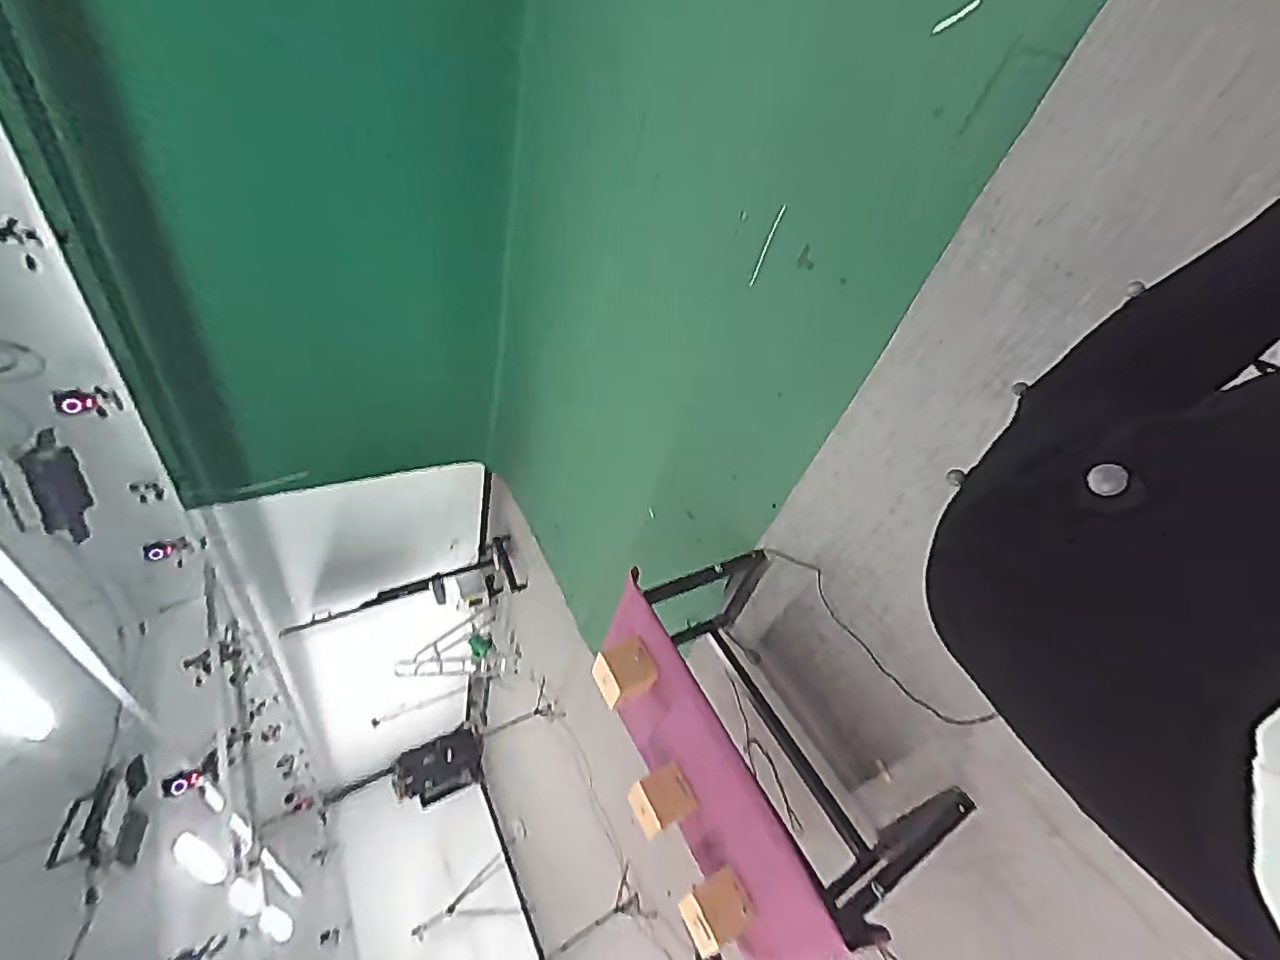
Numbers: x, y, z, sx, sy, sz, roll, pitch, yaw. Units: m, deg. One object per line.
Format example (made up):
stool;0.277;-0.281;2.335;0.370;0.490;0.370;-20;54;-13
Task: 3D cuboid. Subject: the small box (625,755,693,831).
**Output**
small box;0.070;1.146;1.984;0.168;0.176;0.179;55;142;32

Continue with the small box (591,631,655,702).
small box;-0.064;0.698;2.028;0.168;0.176;0.179;55;144;30

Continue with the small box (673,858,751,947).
small box;0.242;1.396;1.792;0.168;0.176;0.179;55;143;33
